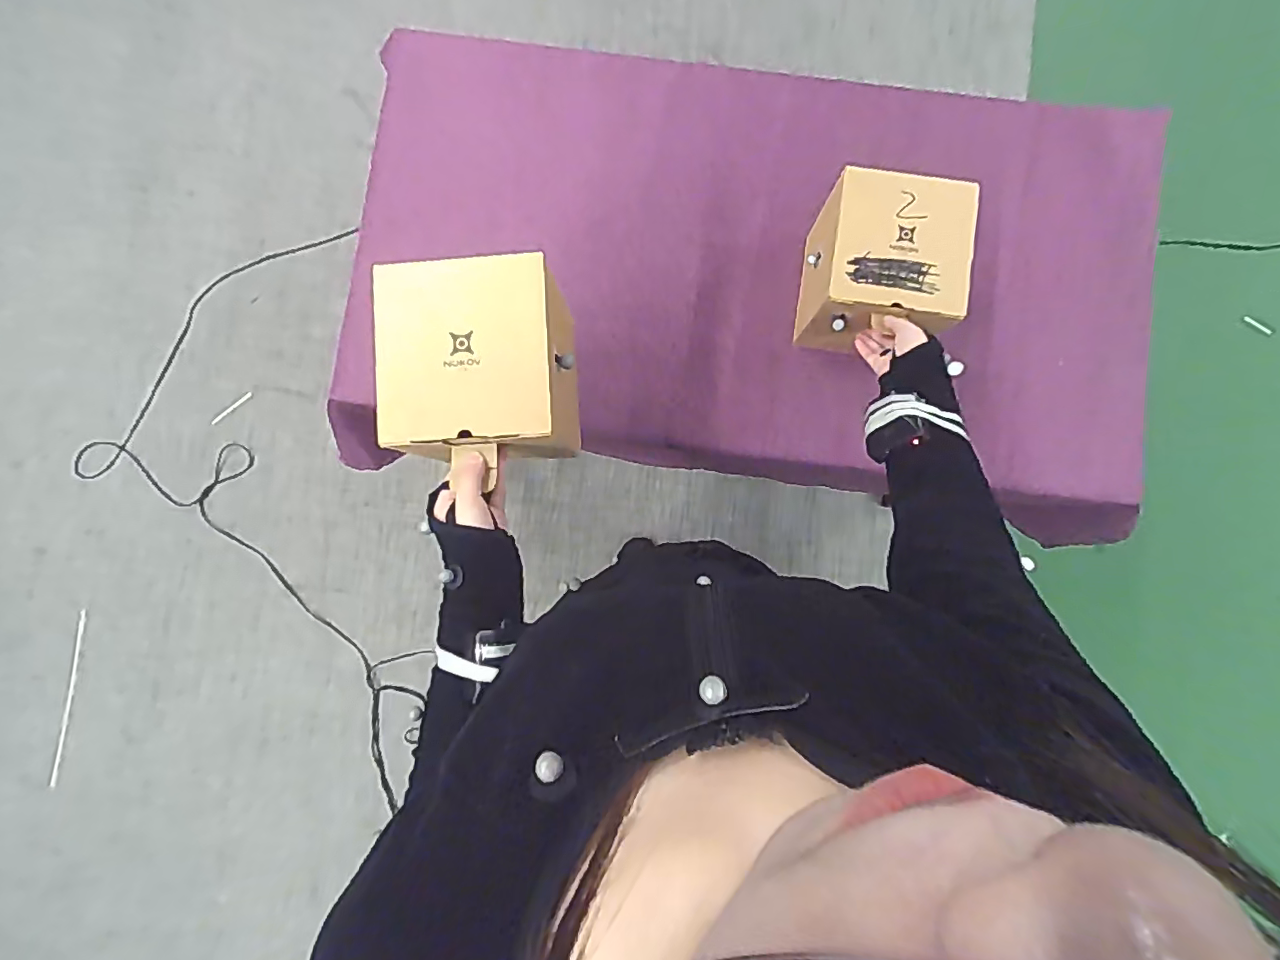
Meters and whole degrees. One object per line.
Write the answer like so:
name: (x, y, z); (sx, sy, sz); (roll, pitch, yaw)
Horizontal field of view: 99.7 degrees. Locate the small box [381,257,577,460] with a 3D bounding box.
small box: (-0.166, -0.121, 0.600); (0.168, 0.176, 0.179); (-4, 86, 3)
